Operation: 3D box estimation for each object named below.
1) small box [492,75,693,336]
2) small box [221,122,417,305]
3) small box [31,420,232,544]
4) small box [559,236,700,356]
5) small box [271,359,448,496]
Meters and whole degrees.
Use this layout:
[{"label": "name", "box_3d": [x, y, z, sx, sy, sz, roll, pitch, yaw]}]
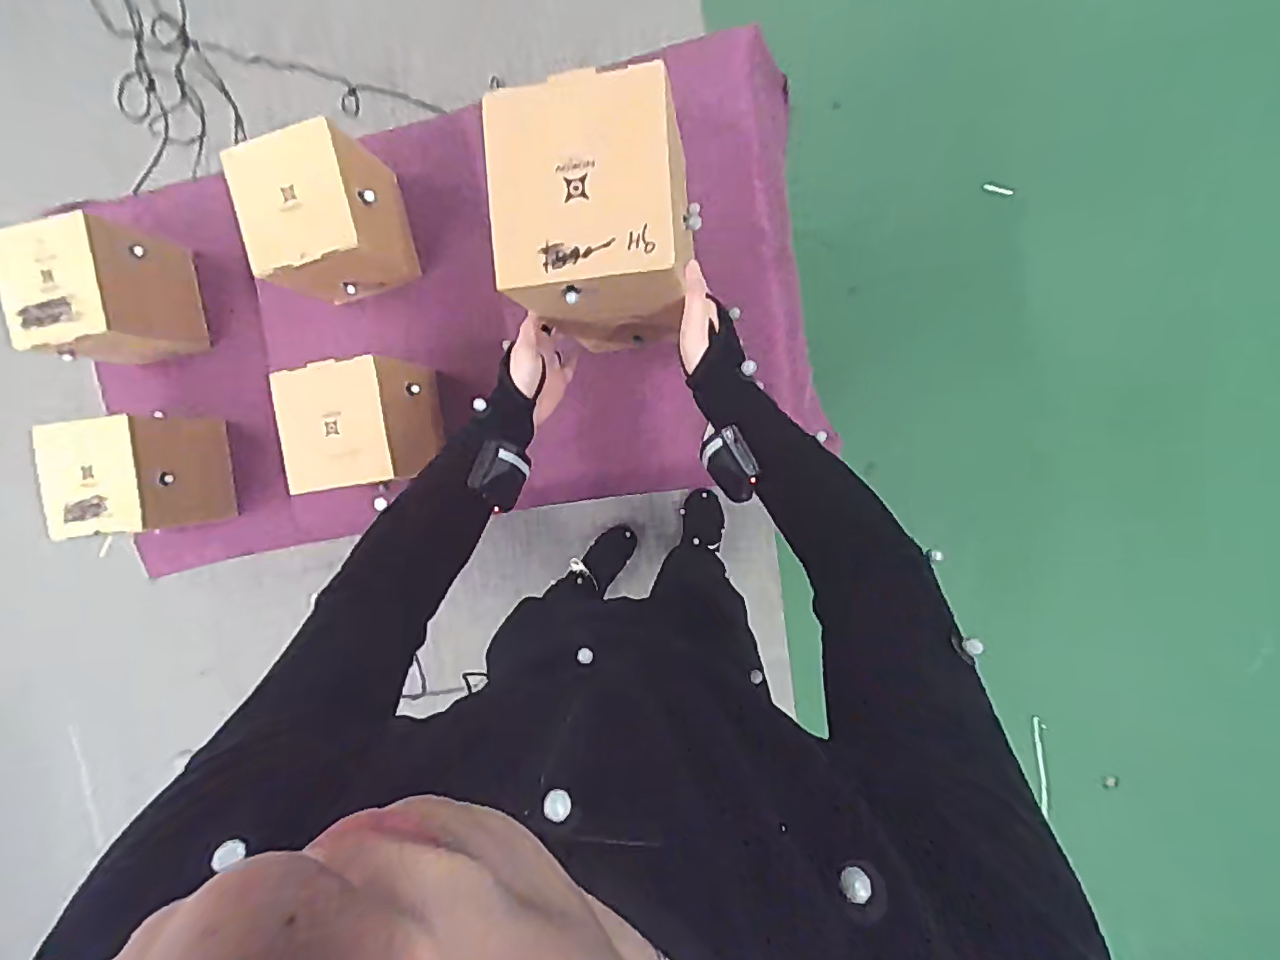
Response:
[{"label": "small box", "box_3d": [-0.036, -0.257, 0.551, 0.168, 0.176, 0.179, -2, 92, 11]}, {"label": "small box", "box_3d": [-0.466, -0.385, 0.812, 0.168, 0.176, 0.179, -13, 94, 7]}, {"label": "small box", "box_3d": [-0.808, -0.001, 0.879, 0.168, 0.176, 0.179, -6, 93, 6]}, {"label": "small box", "box_3d": [-0.012, -0.273, 0.714, 0.168, 0.176, 0.179, -5, 92, 11]}, {"label": "small box", "box_3d": [-0.419, -0.076, 0.832, 0.168, 0.176, 0.179, -8, 93, 8]}]
